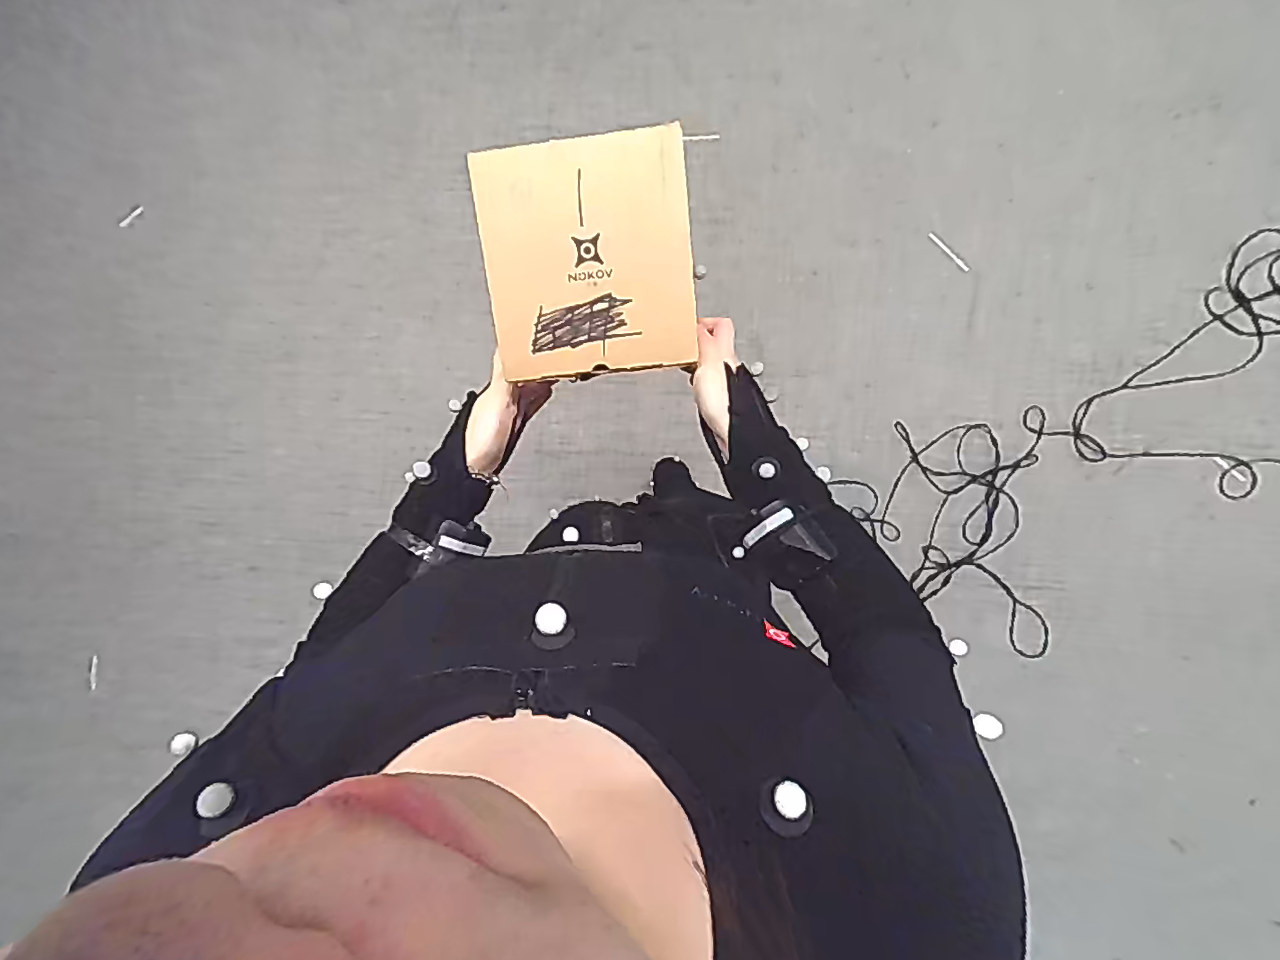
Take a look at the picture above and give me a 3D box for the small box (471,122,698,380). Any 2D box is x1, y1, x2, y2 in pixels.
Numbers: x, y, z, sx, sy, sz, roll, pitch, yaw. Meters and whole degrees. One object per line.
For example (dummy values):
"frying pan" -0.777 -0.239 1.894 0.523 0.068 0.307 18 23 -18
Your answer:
"small box" -0.034 -0.195 0.498 0.168 0.176 0.179 -5 106 5
